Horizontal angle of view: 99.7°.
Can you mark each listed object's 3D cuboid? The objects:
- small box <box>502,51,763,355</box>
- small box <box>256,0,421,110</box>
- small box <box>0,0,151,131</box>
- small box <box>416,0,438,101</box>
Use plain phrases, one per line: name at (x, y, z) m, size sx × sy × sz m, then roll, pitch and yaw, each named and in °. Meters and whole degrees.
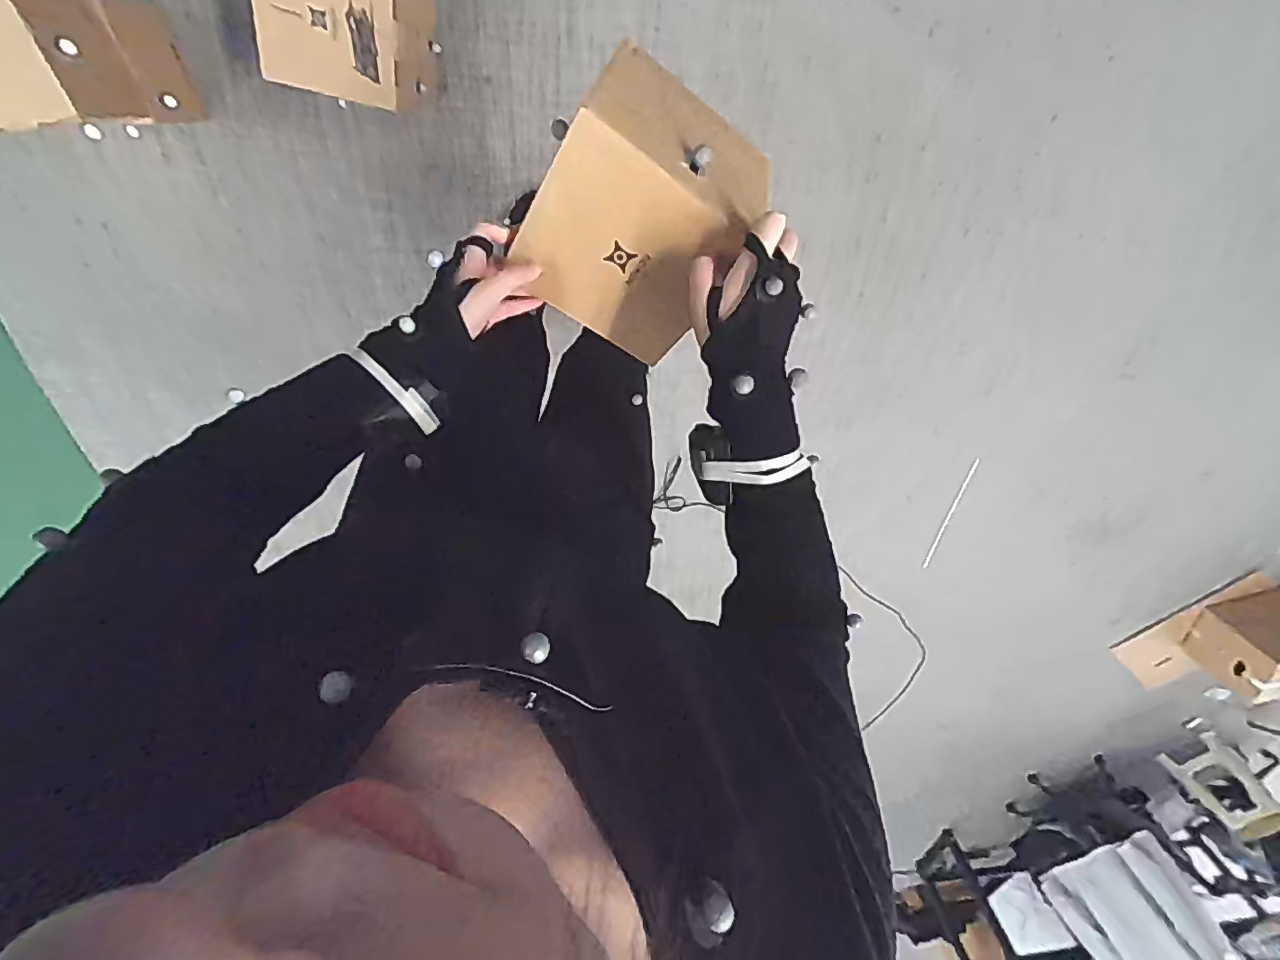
small box at (-0.002, -0.263, 0.518) m, size 0.179 × 0.176 × 0.168 m, roll 27°, pitch 140°, yaw -21°
small box at (-0.422, -0.657, 0.781) m, size 0.179 × 0.176 × 0.168 m, roll 7°, pitch 124°, yaw -12°
small box at (-0.856, -0.602, 0.755) m, size 0.168 × 0.176 × 0.179 m, roll -9°, pitch 126°, yaw -3°
small box at (-0.442, -0.759, 0.910) m, size 0.179 × 0.176 × 0.168 m, roll 5°, pitch 124°, yaw -13°
